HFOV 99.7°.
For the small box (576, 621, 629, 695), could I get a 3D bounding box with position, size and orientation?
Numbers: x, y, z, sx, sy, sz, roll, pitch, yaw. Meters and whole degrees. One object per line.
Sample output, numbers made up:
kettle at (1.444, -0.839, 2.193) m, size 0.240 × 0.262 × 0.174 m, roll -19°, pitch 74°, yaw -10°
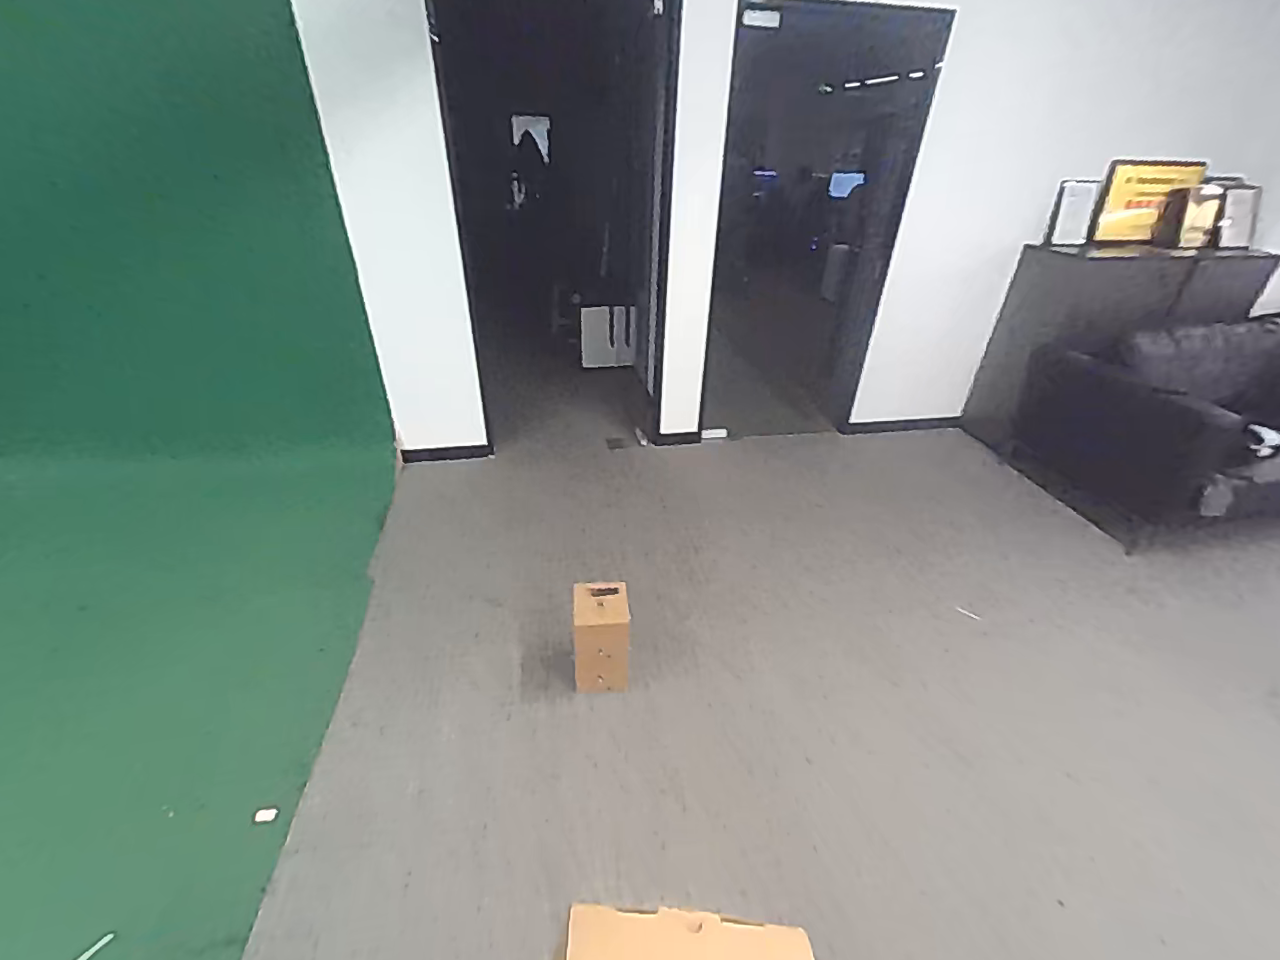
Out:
small box at (-0.119, 0.590, 1.783) m, size 0.168 × 0.176 × 0.179 m, roll 0°, pitch 32°, yaw -3°
